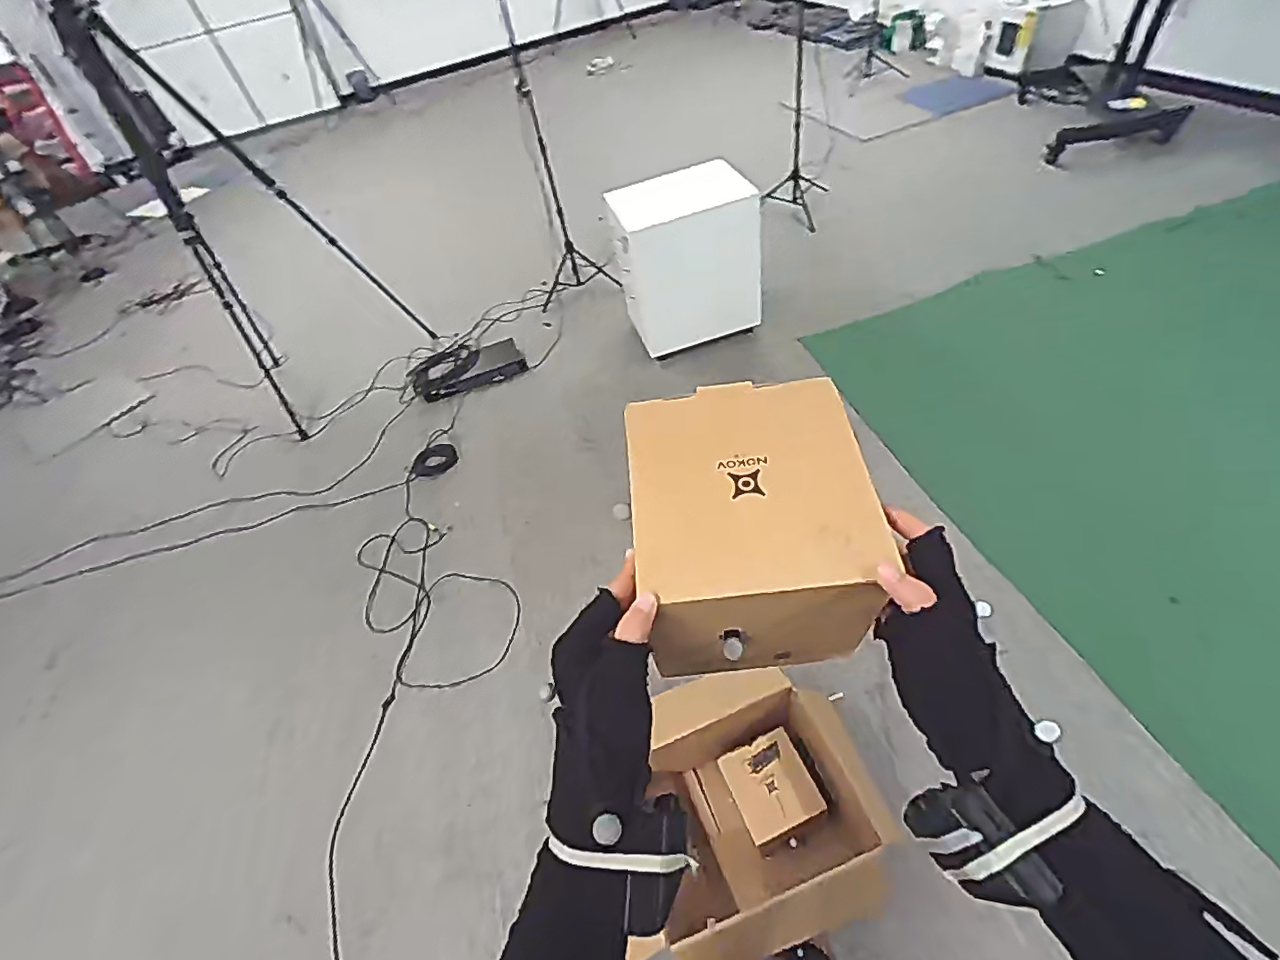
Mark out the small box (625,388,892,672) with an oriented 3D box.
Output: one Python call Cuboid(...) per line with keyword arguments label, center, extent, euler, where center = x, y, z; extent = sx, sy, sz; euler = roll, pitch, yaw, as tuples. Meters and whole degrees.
Cuboid(label="small box", center=(0.084, 0.052, 0.454), extent=(0.168, 0.176, 0.179), euler=(-7, 54, 3))
